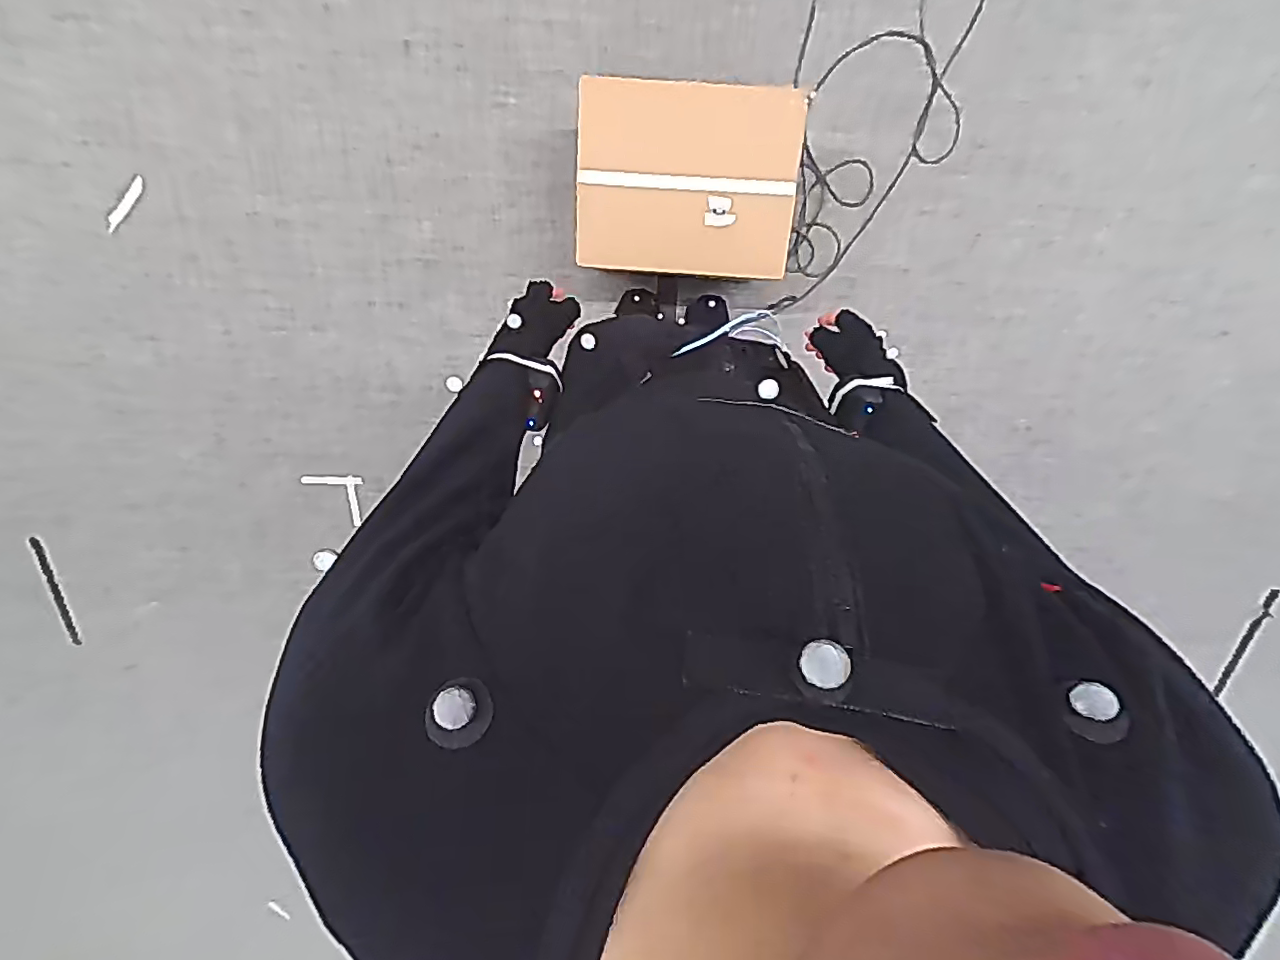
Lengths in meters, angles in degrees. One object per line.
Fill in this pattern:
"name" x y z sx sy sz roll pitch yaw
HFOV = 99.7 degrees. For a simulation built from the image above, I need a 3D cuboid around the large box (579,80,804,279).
"large box" 0.087 -0.601 1.144 0.408 0.320 0.320 4 111 0
